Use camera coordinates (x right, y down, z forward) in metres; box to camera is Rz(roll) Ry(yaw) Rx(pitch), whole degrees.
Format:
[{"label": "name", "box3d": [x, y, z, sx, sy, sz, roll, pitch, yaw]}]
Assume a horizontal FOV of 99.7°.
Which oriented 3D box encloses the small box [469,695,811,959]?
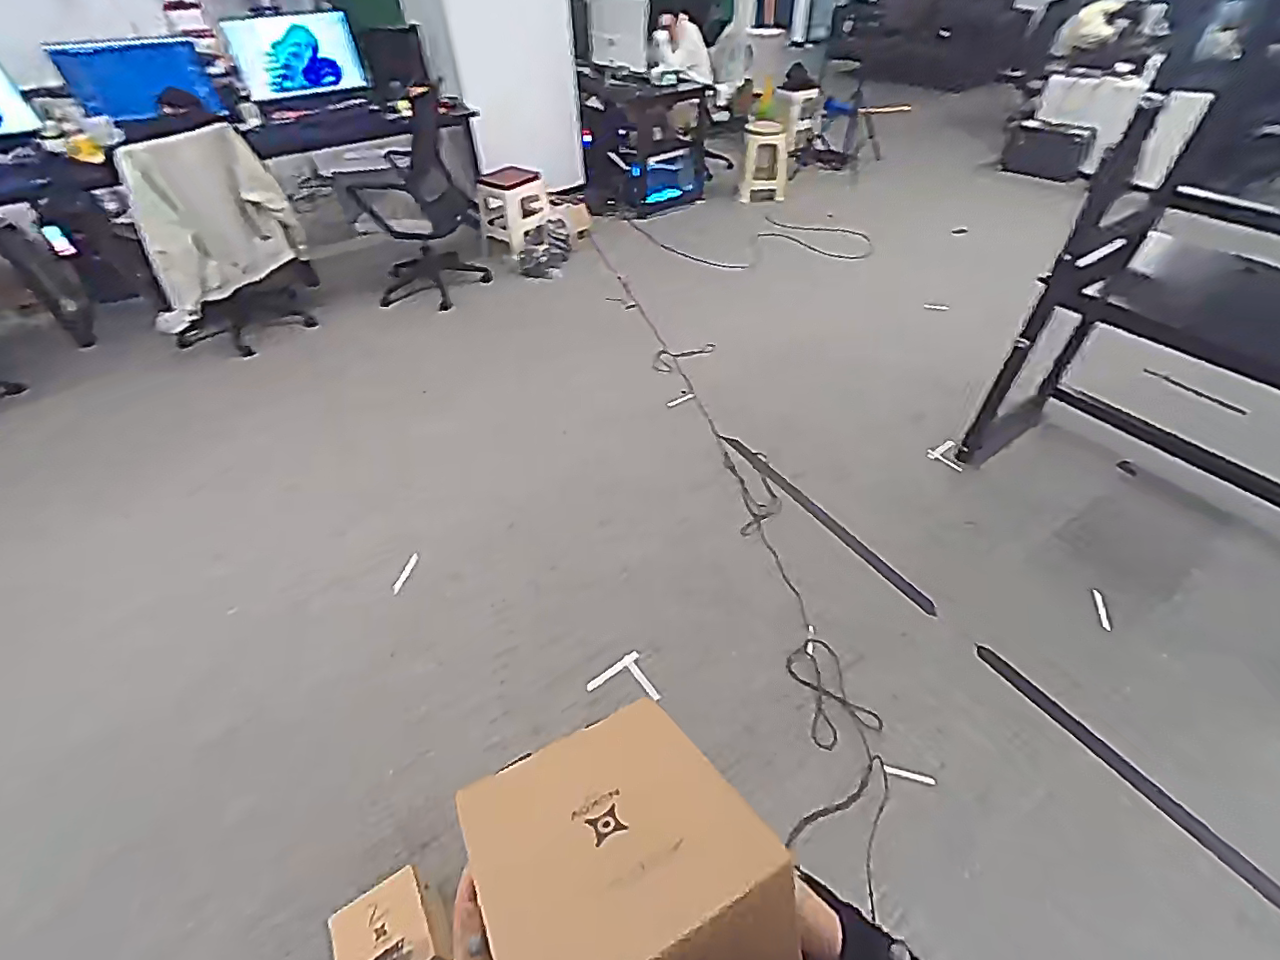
[{"label": "small box", "box3d": [-0.004, 0.294, 0.372, 0.168, 0.176, 0.179, -17, 20, -24]}]
